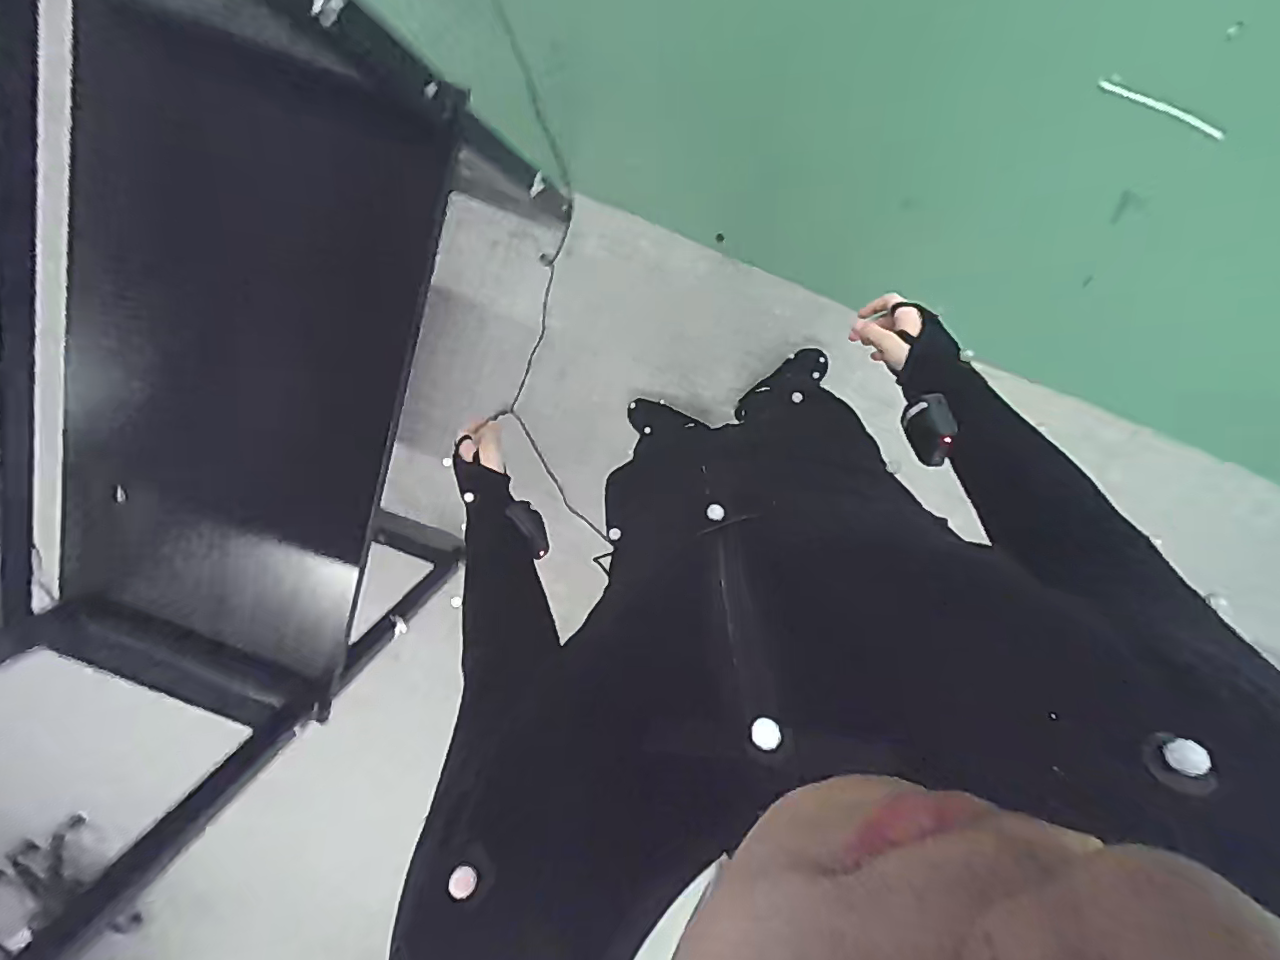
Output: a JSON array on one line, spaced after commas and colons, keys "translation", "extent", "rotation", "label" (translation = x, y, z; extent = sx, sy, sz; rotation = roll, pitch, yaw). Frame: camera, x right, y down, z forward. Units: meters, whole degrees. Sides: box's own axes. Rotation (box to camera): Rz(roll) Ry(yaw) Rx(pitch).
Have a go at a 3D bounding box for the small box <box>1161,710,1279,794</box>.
[{"translation": [1.657, 0.785, 1.527], "extent": [0.179, 0.176, 0.168], "rotation": [22, 109, 0], "label": "small box"}]
